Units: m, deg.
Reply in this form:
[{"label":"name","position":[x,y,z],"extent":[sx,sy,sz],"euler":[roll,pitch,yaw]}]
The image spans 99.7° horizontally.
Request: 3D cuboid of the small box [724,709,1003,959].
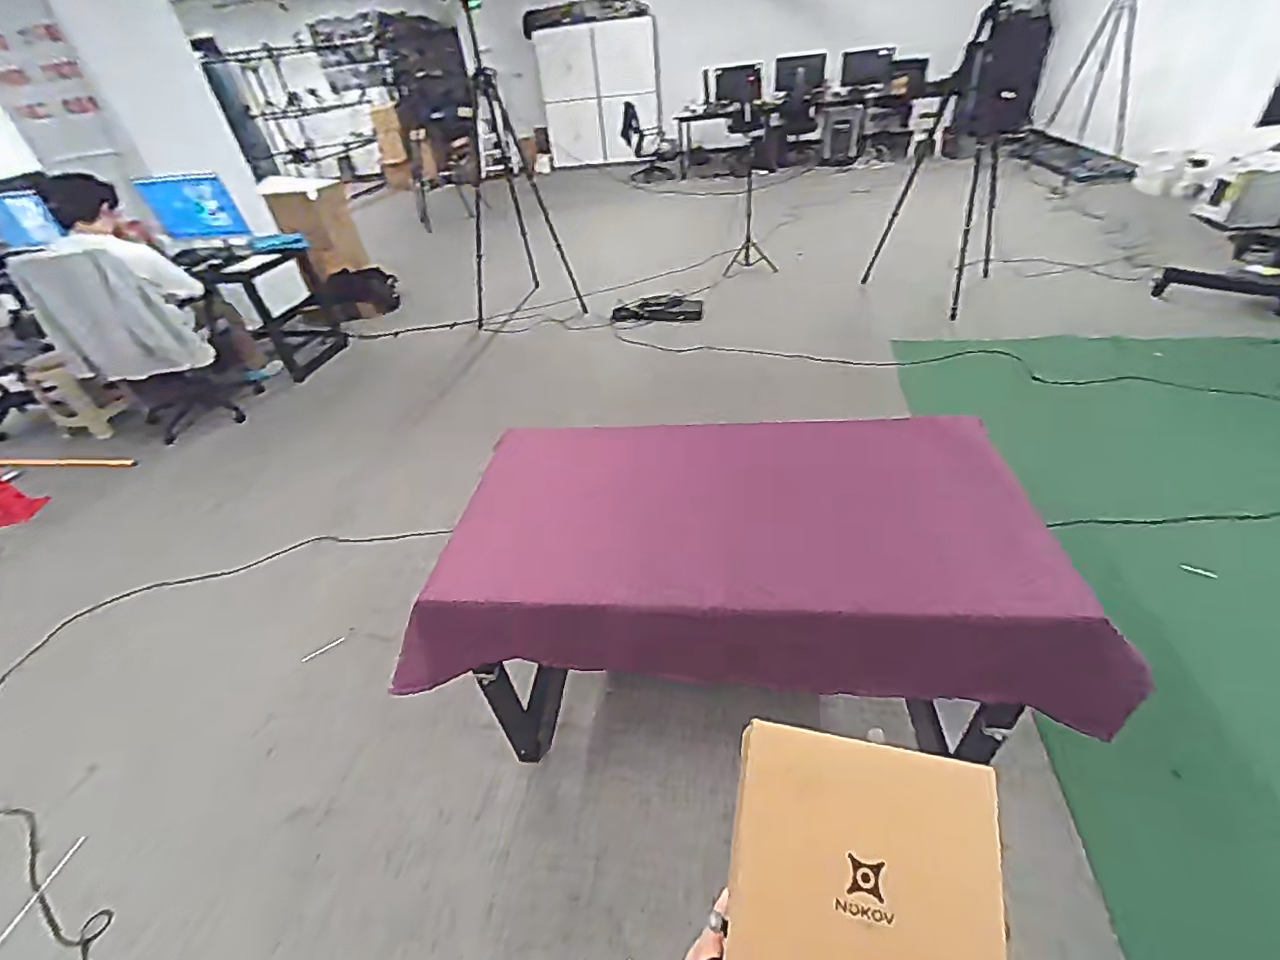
[{"label":"small box","position":[0.158,0.291,0.429],"extent":[0.168,0.176,0.179],"euler":[6,67,11]}]
